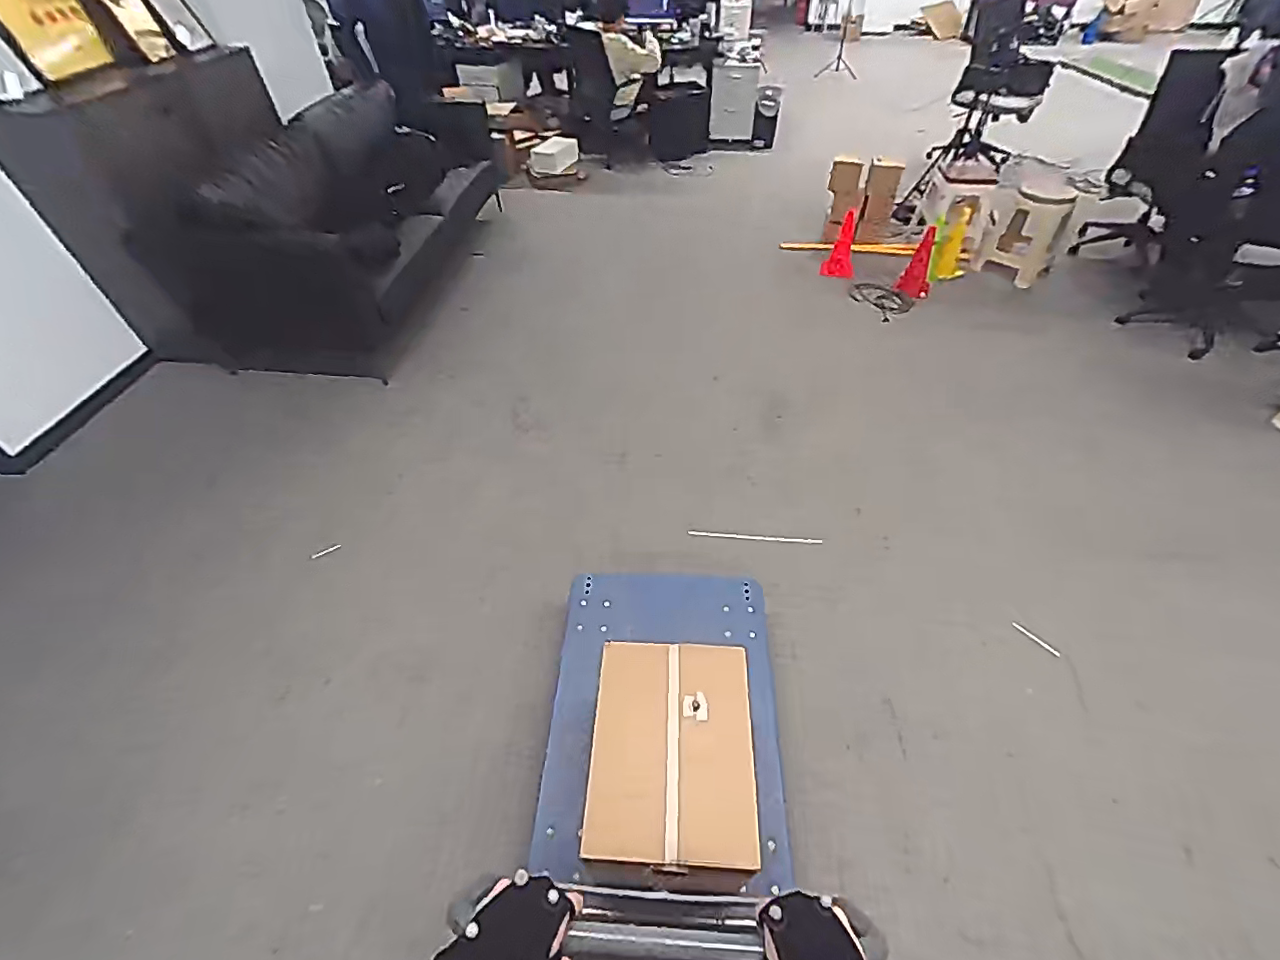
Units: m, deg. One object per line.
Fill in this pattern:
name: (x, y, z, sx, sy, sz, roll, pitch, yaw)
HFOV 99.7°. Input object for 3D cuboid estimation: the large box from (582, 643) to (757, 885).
large box: (0.062, 0.616, 1.180, 0.320, 0.320, 0.408, 2, 47, 3)
